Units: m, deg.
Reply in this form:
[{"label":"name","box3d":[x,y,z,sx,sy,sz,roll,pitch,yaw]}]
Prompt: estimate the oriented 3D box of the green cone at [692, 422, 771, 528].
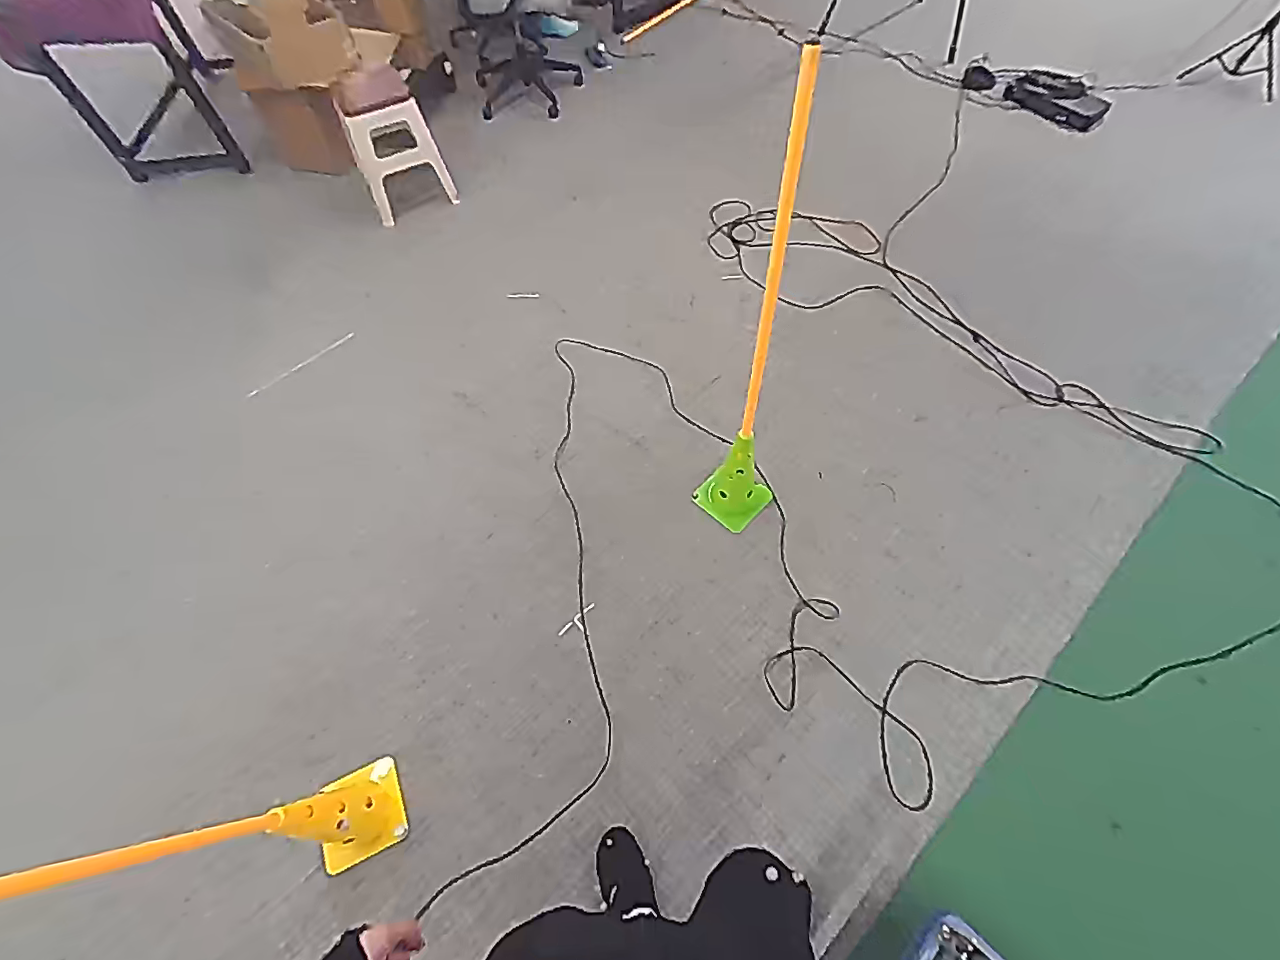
[{"label":"green cone","box3d":[0.293,-0.046,1.604,0.200,0.368,0.202,39,67,21]}]
